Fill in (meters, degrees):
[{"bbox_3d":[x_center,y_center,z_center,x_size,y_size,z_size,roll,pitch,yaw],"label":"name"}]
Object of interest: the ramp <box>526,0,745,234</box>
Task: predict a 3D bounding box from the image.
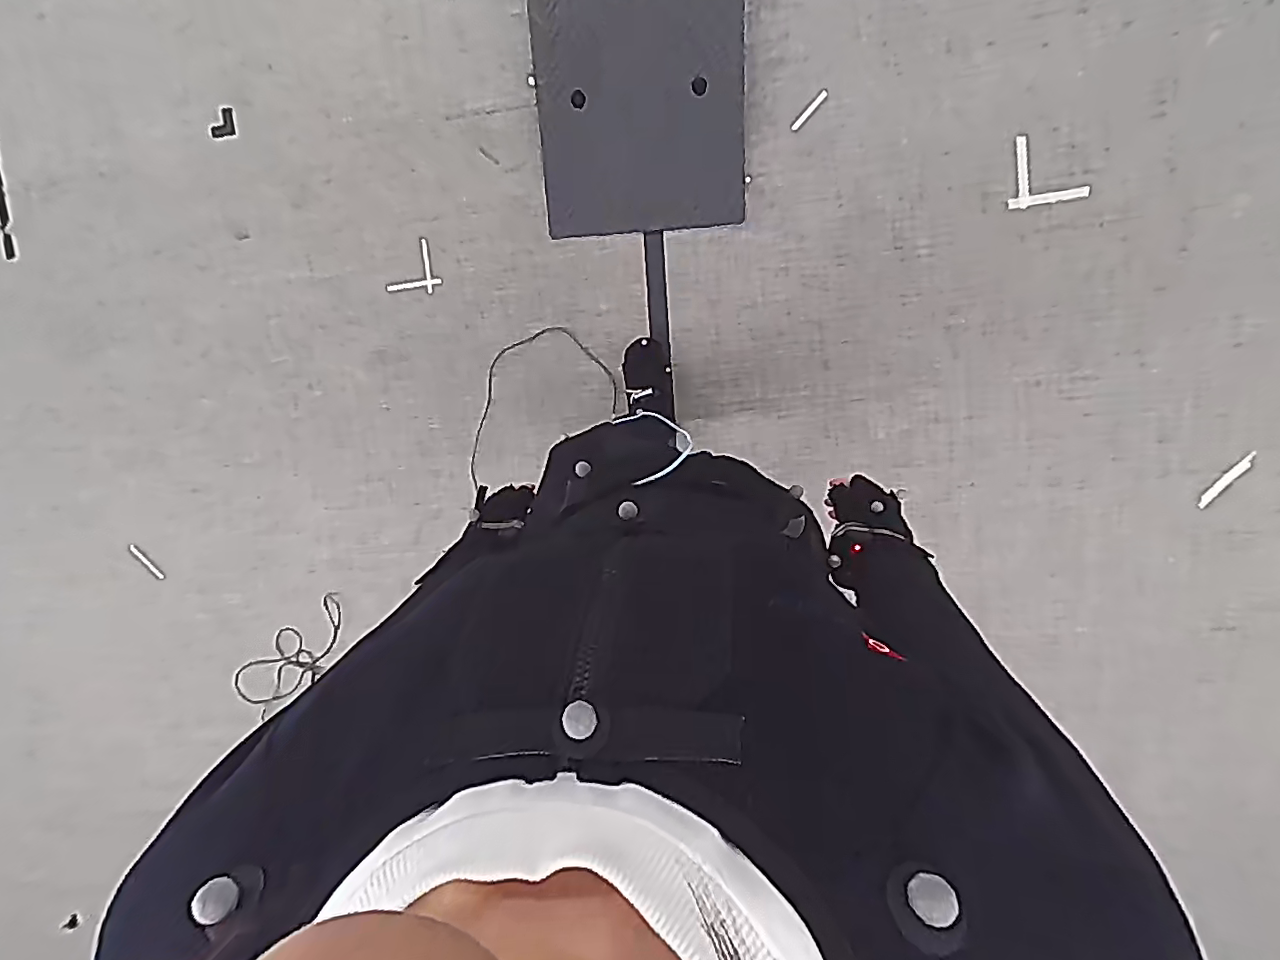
[{"bbox_3d":[-0.017,-1.107,1.199,0.509,0.206,0.991,-4,98,6],"label":"ramp"}]
